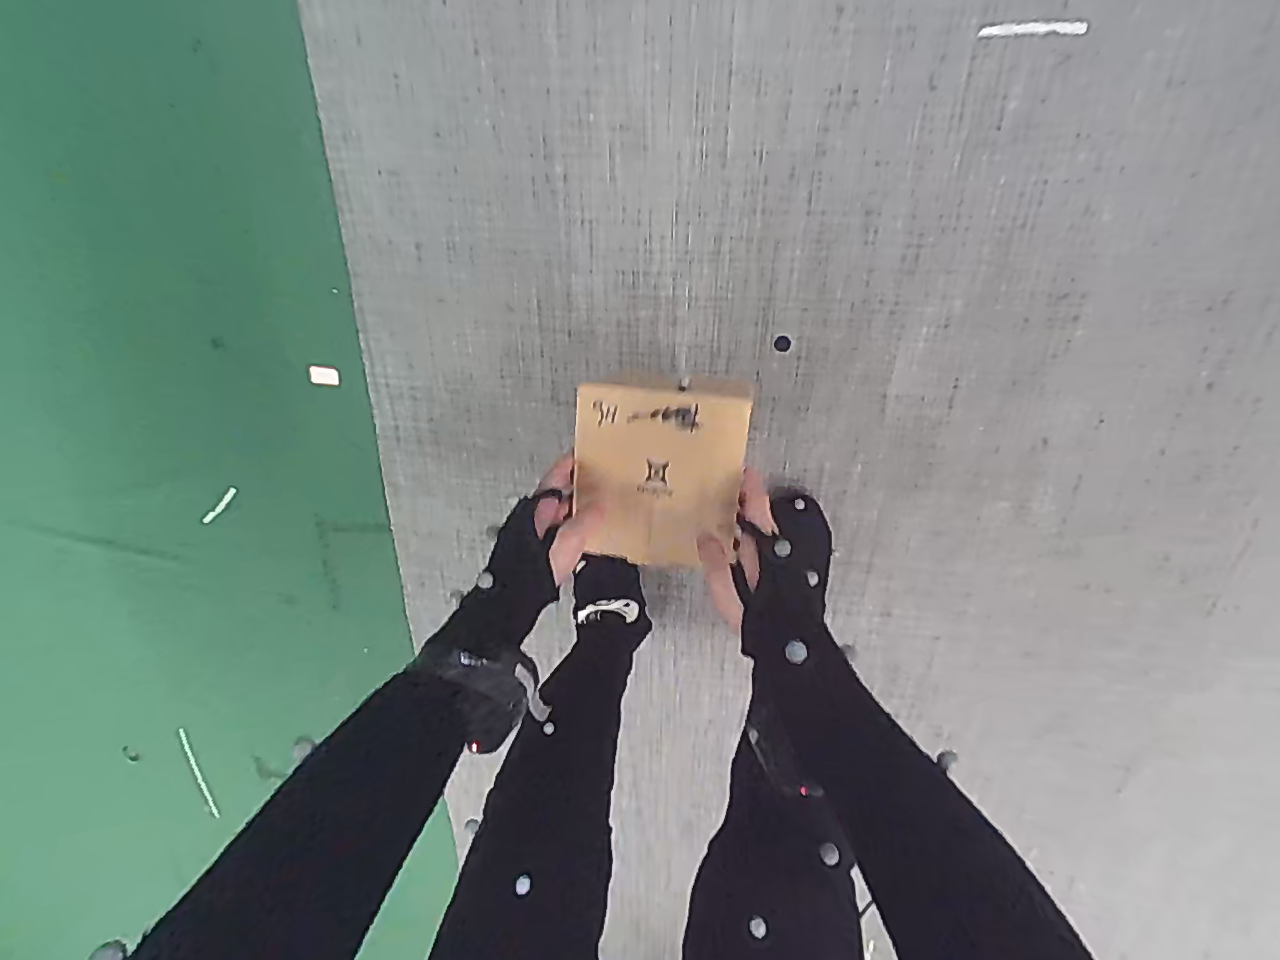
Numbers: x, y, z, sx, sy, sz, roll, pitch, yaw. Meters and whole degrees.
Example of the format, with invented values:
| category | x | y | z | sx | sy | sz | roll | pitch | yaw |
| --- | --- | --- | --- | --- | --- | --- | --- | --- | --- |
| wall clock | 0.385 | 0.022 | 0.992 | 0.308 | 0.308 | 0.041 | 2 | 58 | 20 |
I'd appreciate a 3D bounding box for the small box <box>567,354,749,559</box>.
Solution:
| category | x | y | z | sx | sy | sz | roll | pitch | yaw |
| --- | --- | --- | --- | --- | --- | --- | --- | --- | --- |
| small box | 0.026 | -0.038 | 0.596 | 0.168 | 0.176 | 0.179 | 8 | 108 | 9 |
